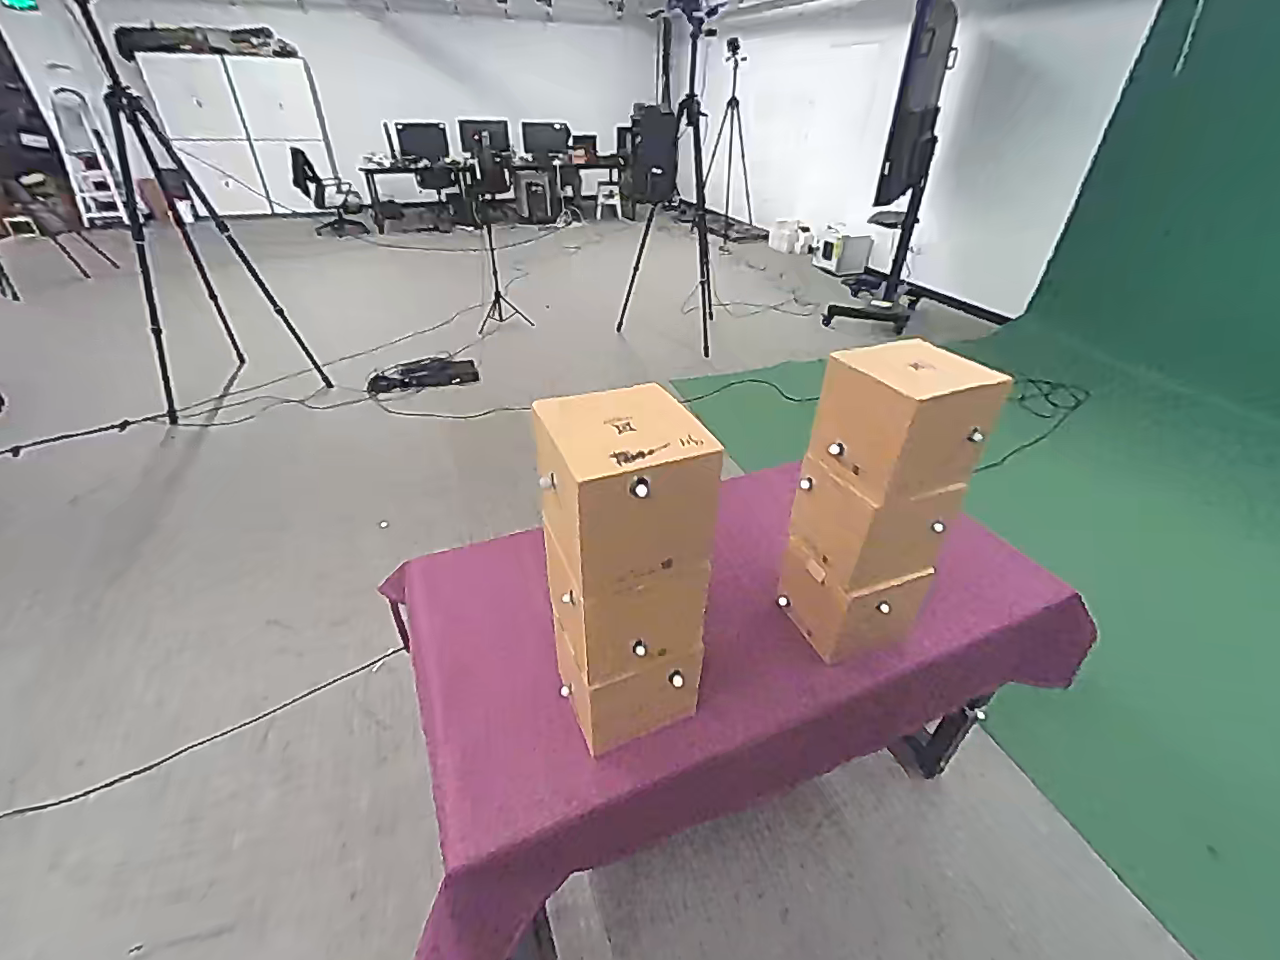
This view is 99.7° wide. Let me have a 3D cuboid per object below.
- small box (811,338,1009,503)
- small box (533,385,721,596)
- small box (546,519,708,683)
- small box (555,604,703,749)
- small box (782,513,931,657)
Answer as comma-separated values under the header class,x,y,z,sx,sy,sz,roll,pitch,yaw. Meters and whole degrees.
class,x,y,z,sx,sy,sz,roll,pitch,yaw
small box,0.379,-0.091,0.792,0.179,0.176,0.168,-14,37,-19
small box,-0.023,0.007,0.649,0.168,0.176,0.179,-14,38,-19
small box,-0.026,0.140,0.746,0.168,0.176,0.179,-14,39,-20
small box,-0.022,0.275,0.837,0.179,0.176,0.168,-14,37,-20
small box,0.371,0.187,0.966,0.179,0.176,0.168,-12,37,-18
